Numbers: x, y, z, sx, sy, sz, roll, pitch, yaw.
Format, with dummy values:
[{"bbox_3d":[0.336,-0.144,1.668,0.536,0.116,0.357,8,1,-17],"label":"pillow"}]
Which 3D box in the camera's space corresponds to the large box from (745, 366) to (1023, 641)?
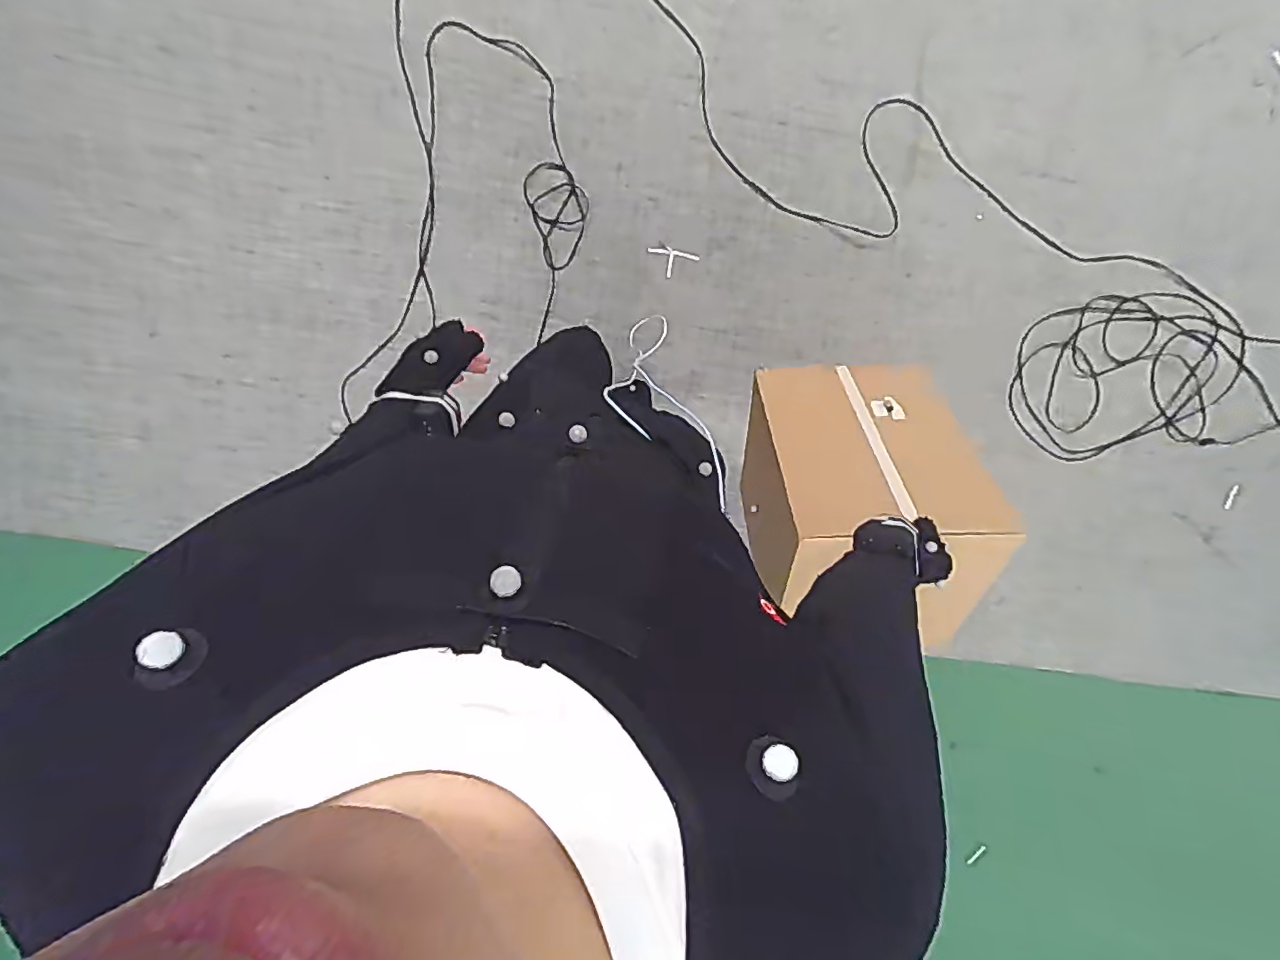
[{"bbox_3d":[0.383,0.038,0.988,0.320,0.408,0.320,-1,135,1],"label":"large box"}]
